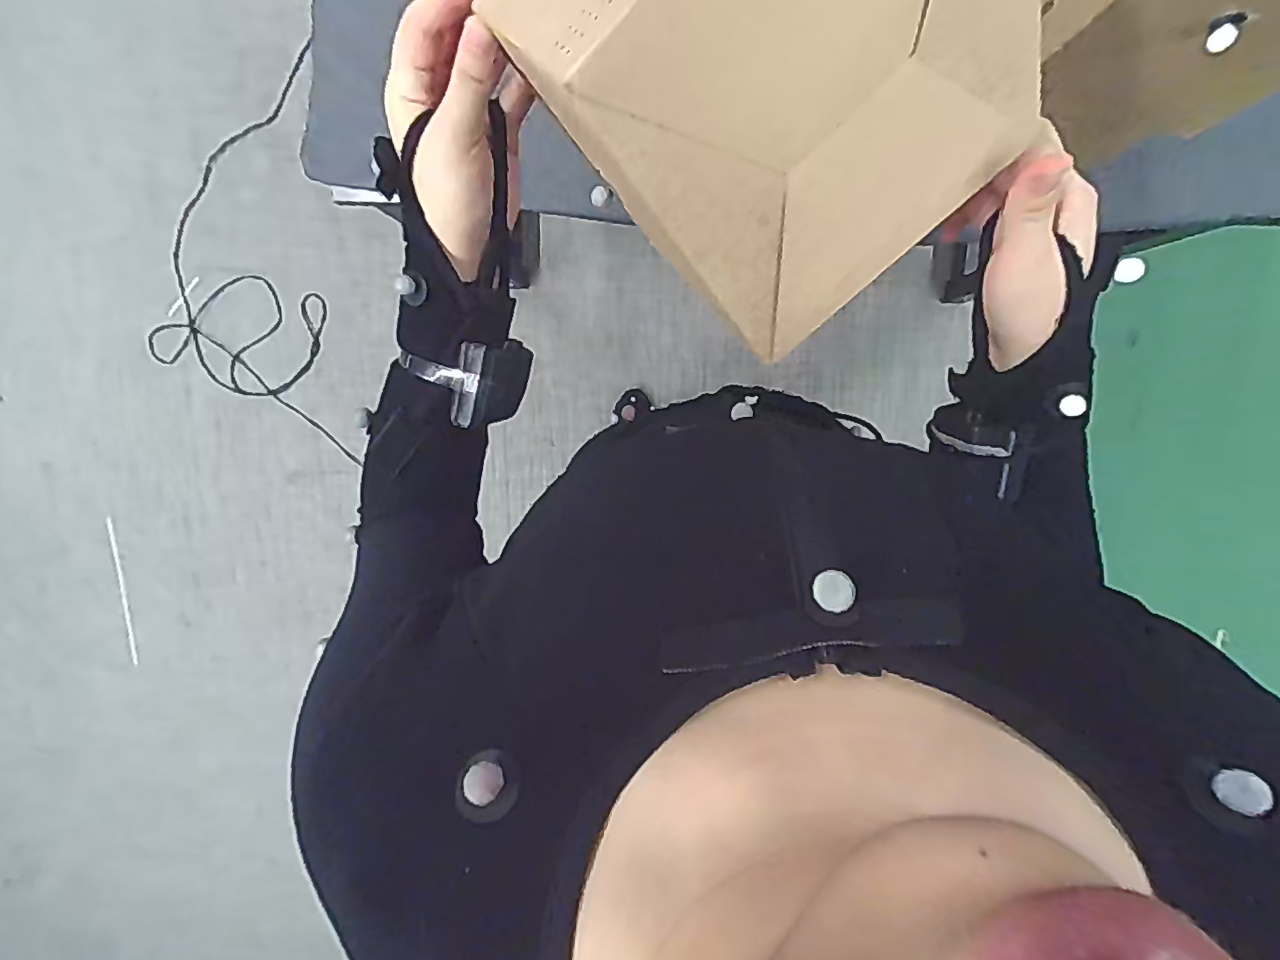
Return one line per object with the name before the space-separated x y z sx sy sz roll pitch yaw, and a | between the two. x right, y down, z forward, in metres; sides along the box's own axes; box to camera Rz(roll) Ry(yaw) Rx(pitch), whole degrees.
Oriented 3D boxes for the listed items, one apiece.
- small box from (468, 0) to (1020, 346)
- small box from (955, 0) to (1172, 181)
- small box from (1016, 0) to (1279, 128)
small box | 0.047 -0.200 0.263 0.168 0.179 0.176 -40 52 15
small box | 0.449 -0.443 0.567 0.168 0.176 0.179 4 99 3
small box | 0.439 -0.403 0.410 0.179 0.176 0.168 15 99 2
